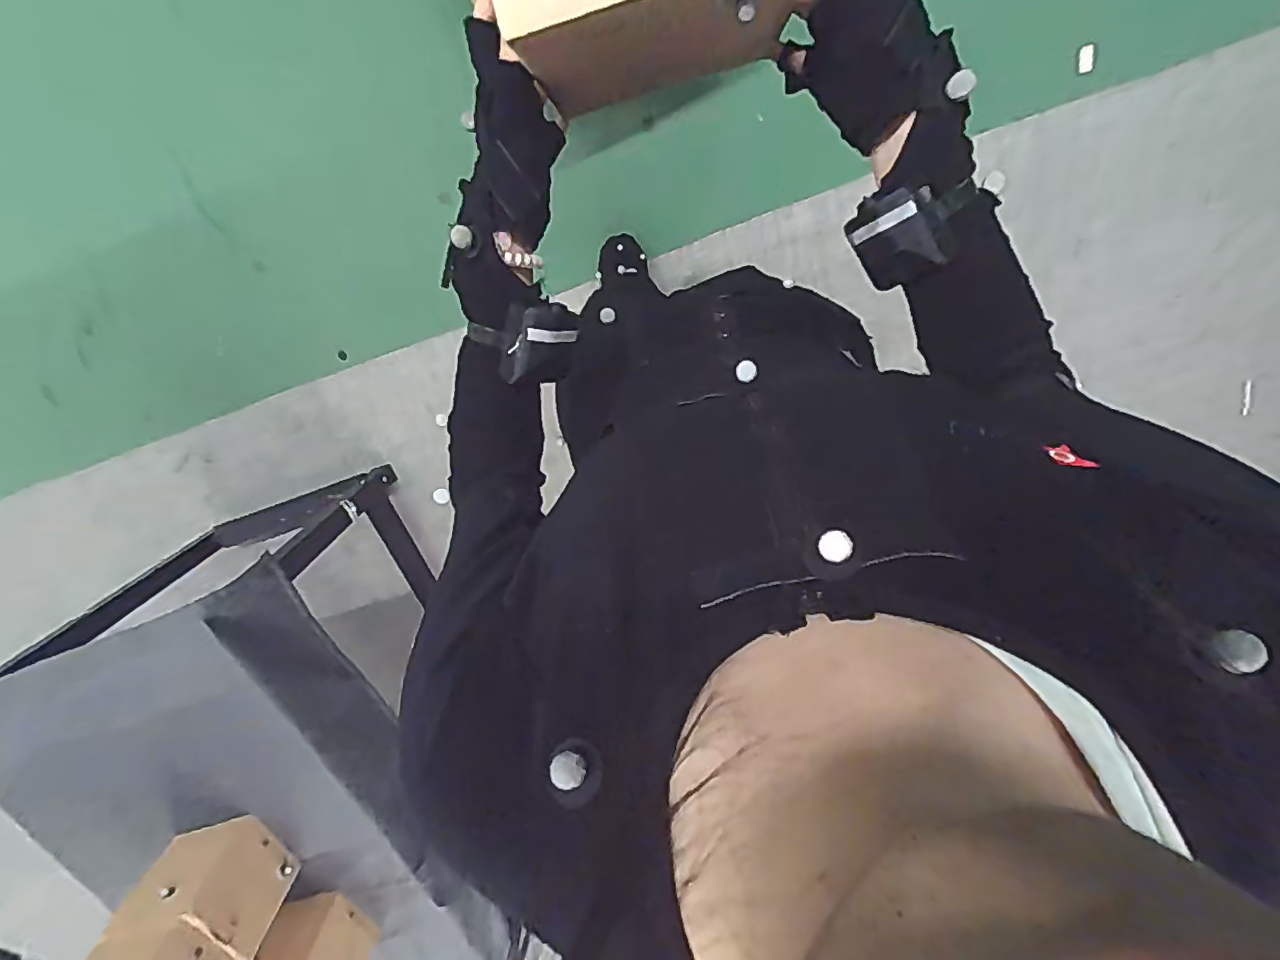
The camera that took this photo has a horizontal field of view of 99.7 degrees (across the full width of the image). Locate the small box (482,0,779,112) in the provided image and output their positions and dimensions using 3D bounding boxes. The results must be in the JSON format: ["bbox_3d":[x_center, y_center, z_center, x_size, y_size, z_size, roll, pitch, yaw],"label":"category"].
[{"bbox_3d":[-0.009,-0.354,0.324,0.179,0.176,0.168,-13,110,8],"label":"small box"}]

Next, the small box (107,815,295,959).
[{"bbox_3d":[-0.772,0.747,0.980,0.179,0.176,0.168,-19,112,8],"label":"small box"}]

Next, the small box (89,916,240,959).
[{"bbox_3d":[-0.779,0.826,0.836,0.179,0.176,0.168,-21,112,7],"label":"small box"}]
